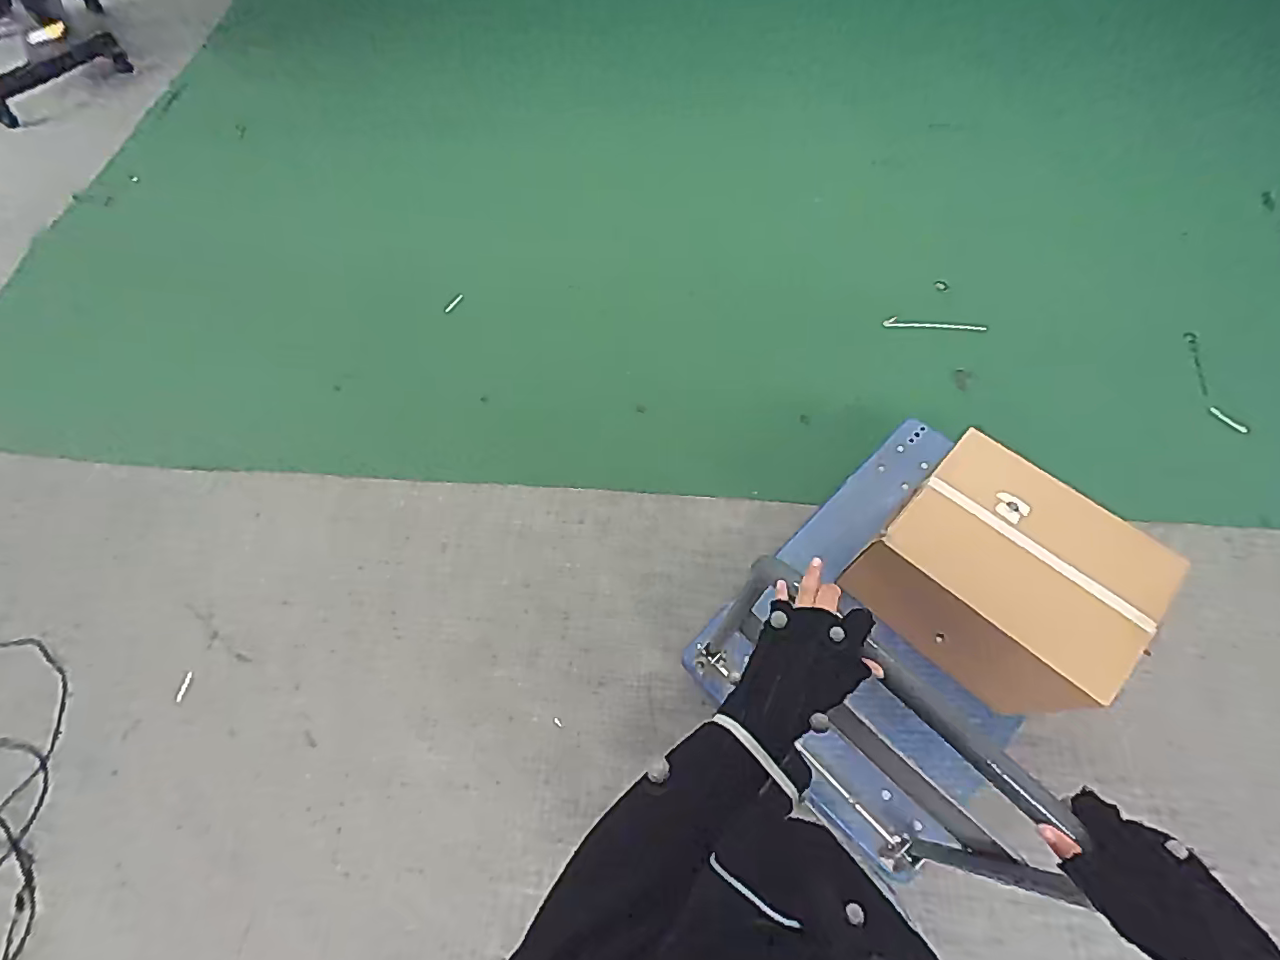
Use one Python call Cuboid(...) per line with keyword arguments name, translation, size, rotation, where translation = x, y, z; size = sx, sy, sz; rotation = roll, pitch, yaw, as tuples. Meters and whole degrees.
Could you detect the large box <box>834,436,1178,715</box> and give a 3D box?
Cuboid(name="large box", translation=(0.669, 0.197, 1.065), size=(0.408, 0.320, 0.320), rotation=(40, 73, 21))
